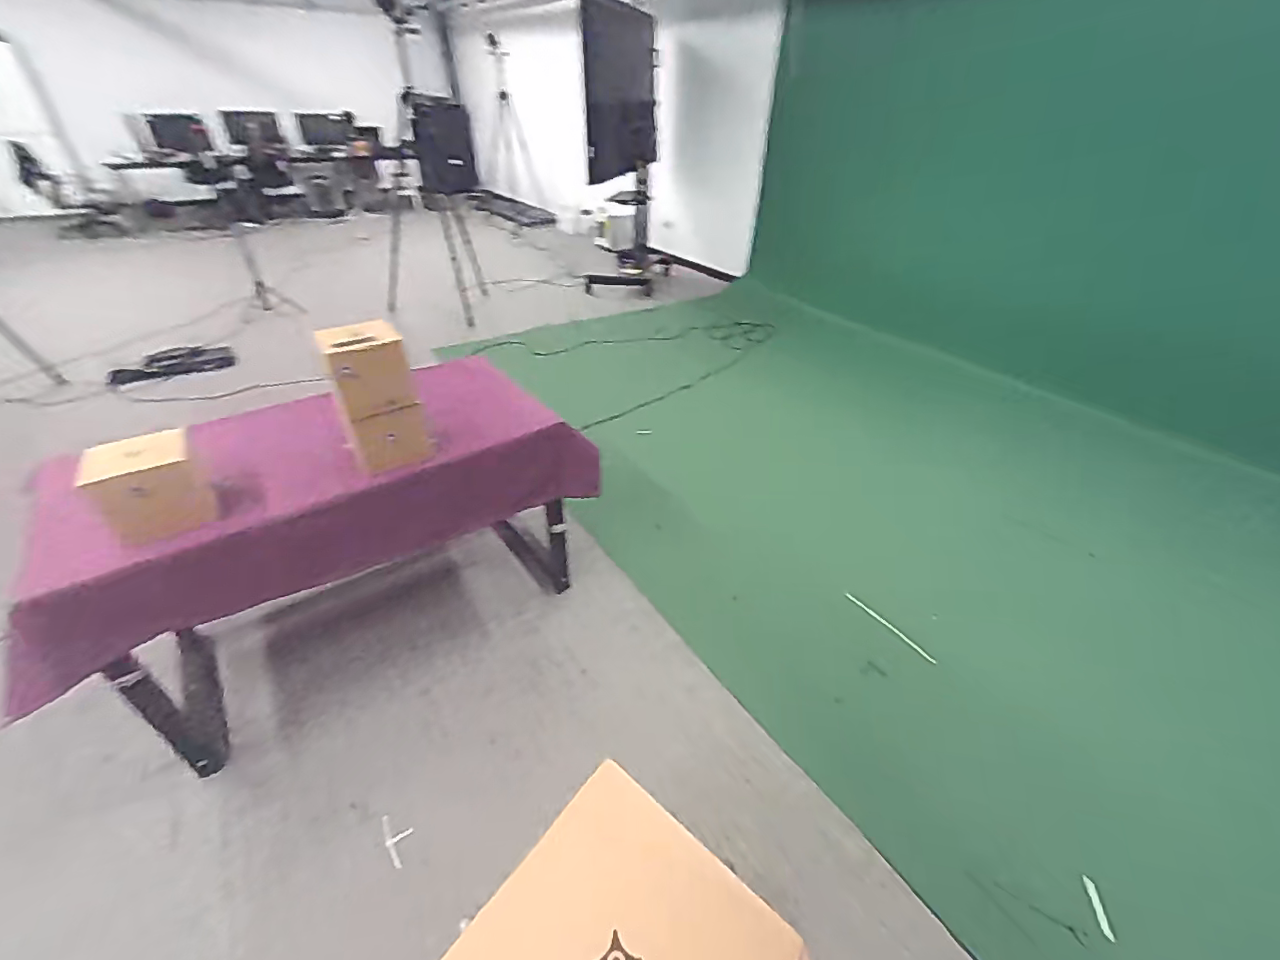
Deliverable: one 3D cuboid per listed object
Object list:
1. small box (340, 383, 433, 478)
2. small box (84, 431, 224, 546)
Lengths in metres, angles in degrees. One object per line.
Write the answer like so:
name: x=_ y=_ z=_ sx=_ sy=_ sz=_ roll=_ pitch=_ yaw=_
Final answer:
small box: x=-0.660 y=-0.132 z=1.425 sx=0.179 sy=0.176 sz=0.168 roll=-22 pitch=41 yaw=-27
small box: x=-1.062 y=0.019 z=1.197 sx=0.179 sy=0.176 sz=0.168 roll=-21 pitch=41 yaw=-28
